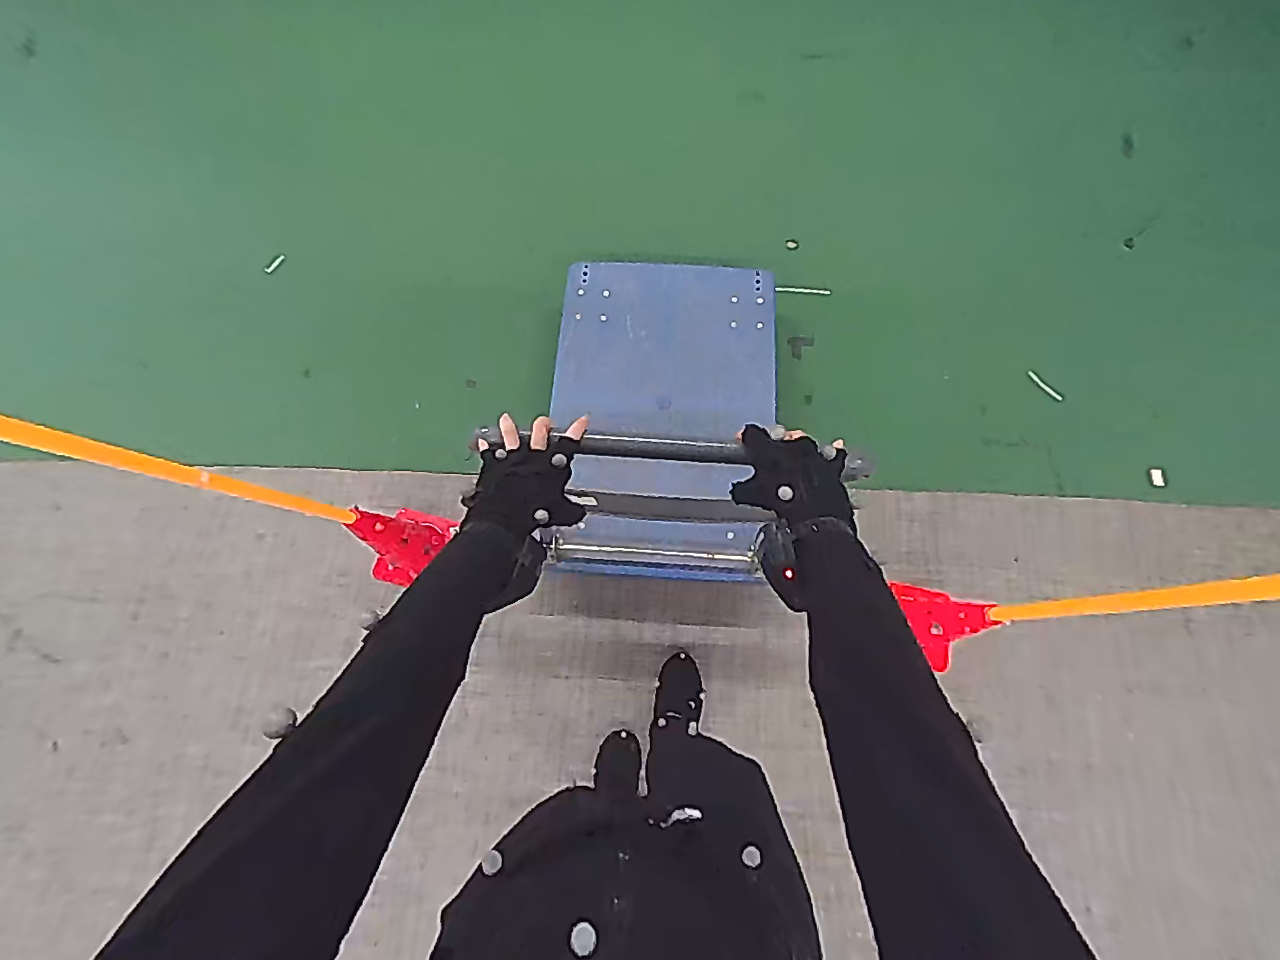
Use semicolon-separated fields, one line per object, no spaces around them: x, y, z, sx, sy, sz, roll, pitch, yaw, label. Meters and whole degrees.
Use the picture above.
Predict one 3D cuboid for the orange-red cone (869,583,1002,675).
0.684;0.320;1.206;0.198;0.360;0.199;13;73;5;orange-red cone
